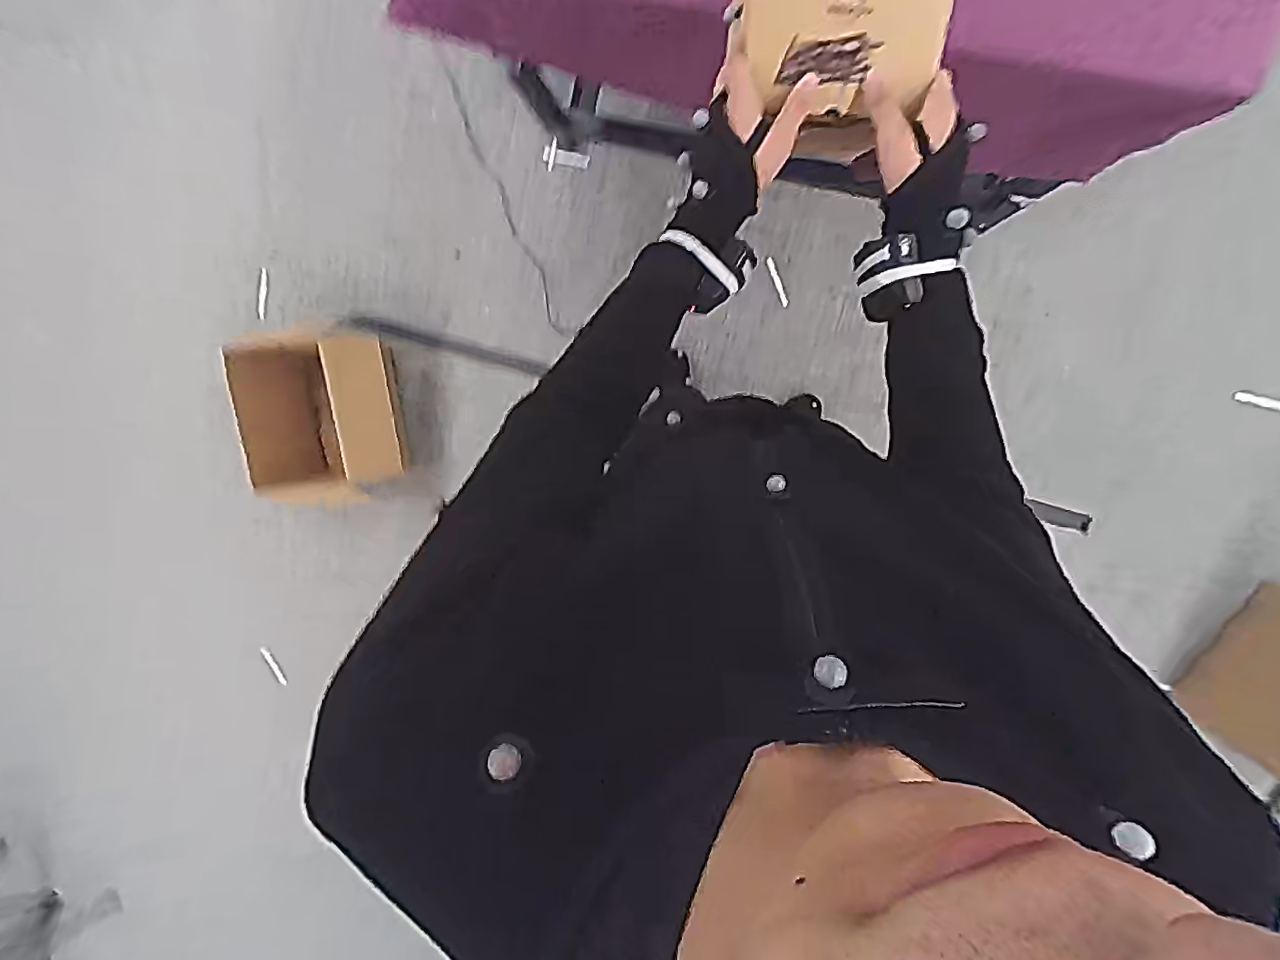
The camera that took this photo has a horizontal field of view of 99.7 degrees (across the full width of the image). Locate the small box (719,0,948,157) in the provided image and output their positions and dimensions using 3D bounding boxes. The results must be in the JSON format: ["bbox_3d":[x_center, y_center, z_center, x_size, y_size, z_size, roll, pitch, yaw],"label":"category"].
[{"bbox_3d":[0.171,-0.424,0.516,0.168,0.176,0.179,3,110,-1],"label":"small box"}]
